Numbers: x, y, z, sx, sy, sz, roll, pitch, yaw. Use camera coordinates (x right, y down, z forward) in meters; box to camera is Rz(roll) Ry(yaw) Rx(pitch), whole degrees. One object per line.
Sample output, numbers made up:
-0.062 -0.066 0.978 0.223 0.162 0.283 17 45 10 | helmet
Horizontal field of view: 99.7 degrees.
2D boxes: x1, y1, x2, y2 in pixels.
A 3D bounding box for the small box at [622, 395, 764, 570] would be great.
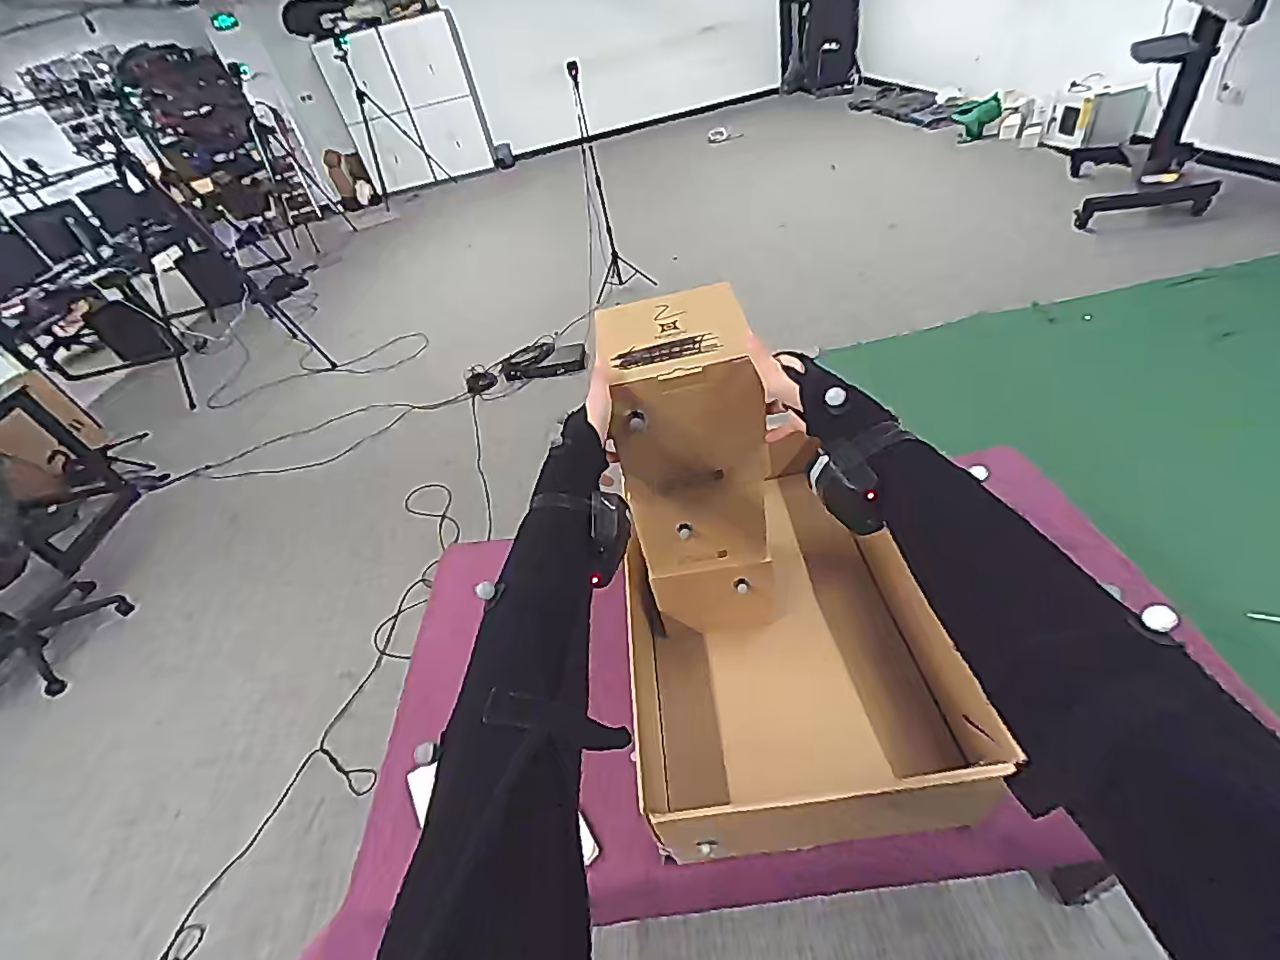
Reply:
0.074 0.011 0.759 0.168 0.176 0.179 -10 42 6 | small box
